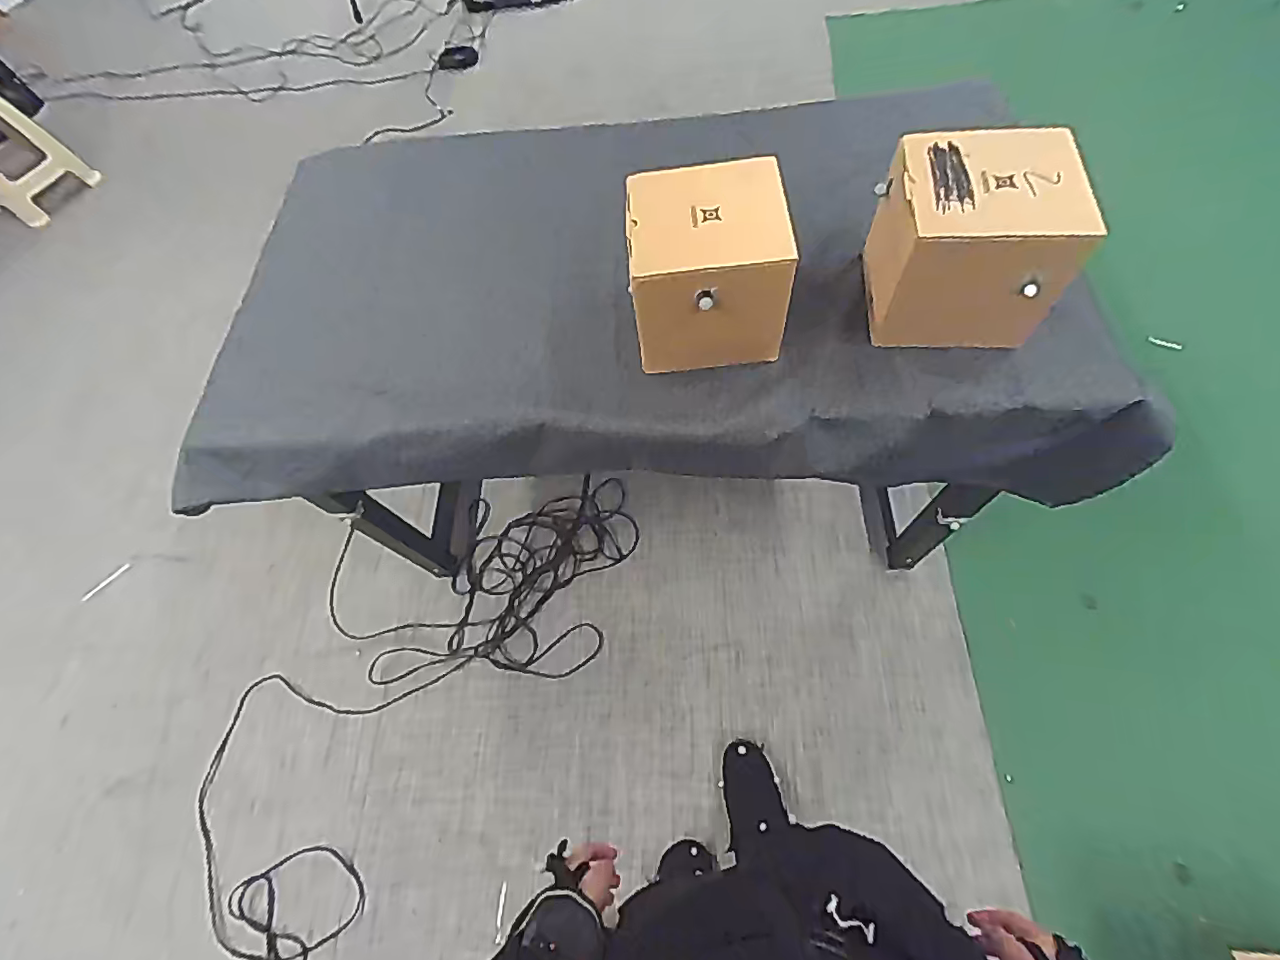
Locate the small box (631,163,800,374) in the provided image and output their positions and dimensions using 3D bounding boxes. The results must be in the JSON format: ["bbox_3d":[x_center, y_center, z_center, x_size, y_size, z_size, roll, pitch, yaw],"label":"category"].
[{"bbox_3d":[0.086,-0.249,0.665,0.179,0.176,0.168,-5,63,6],"label":"small box"}]
